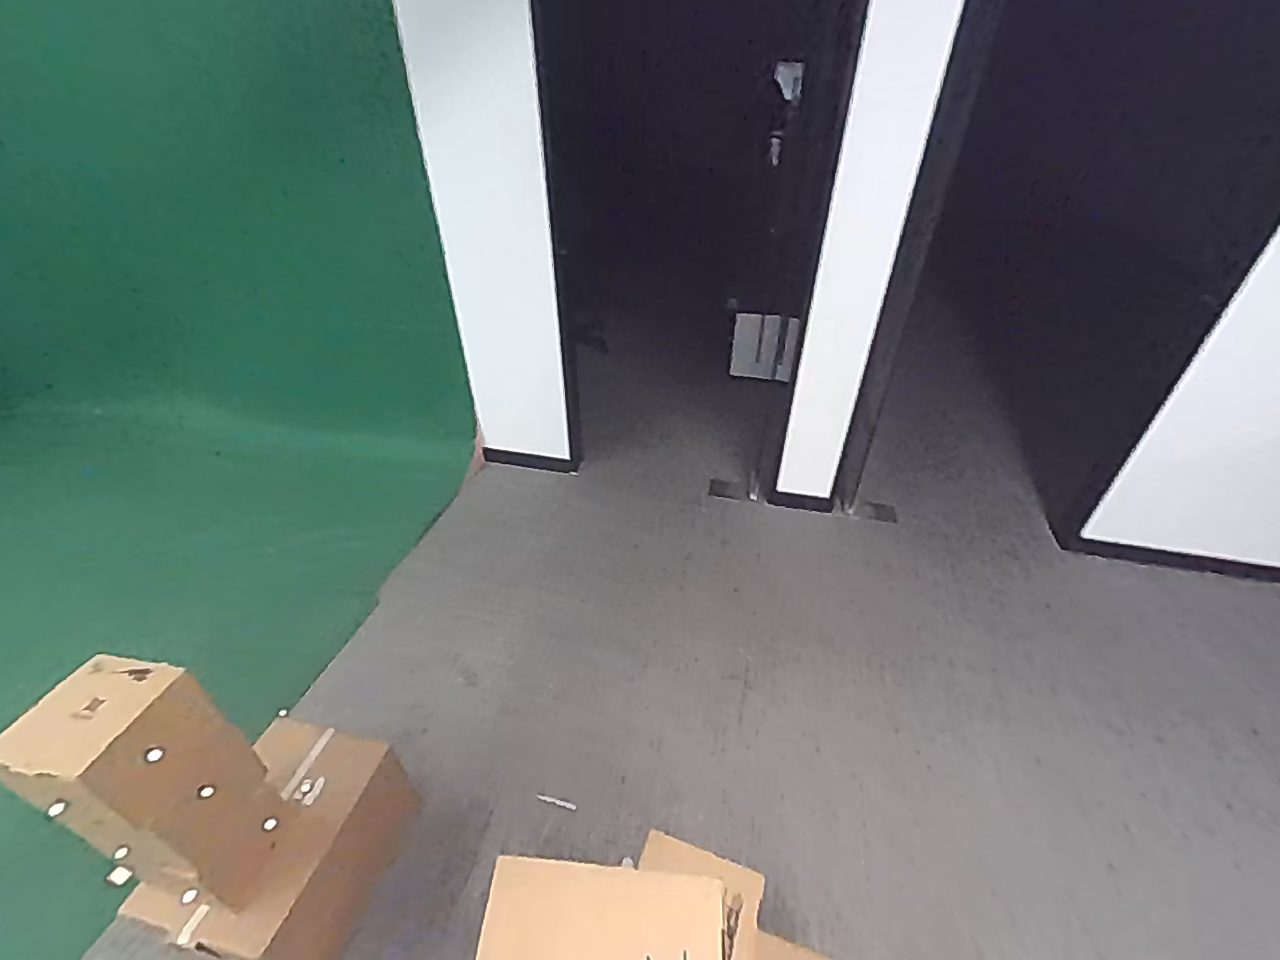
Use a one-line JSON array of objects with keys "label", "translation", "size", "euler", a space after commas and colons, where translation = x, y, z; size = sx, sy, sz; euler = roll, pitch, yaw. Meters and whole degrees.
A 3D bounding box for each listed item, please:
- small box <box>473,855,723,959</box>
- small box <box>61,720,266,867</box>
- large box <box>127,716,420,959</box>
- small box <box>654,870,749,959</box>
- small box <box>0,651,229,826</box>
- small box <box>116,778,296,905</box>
[{"label": "small box", "translation": [-0.035, 0.409, 0.413], "size": [0.179, 0.176, 0.168], "euler": [5, 44, 2]}, {"label": "small box", "translation": [-0.796, 0.530, 0.931], "size": [0.168, 0.176, 0.179], "euler": [6, 35, 6]}, {"label": "large box", "translation": [-0.769, 0.827, 1.217], "size": [0.320, 0.320, 0.408], "euler": [8, 36, 10]}, {"label": "small box", "translation": [0.071, 0.787, 0.871], "size": [0.168, 0.176, 0.179], "euler": [13, 36, 16]}, {"label": "small box", "translation": [-0.794, 0.398, 0.834], "size": [0.168, 0.176, 0.179], "euler": [7, 37, 8]}, {"label": "small box", "translation": [-0.800, 0.667, 1.022], "size": [0.179, 0.176, 0.168], "euler": [7, 36, 10]}]
